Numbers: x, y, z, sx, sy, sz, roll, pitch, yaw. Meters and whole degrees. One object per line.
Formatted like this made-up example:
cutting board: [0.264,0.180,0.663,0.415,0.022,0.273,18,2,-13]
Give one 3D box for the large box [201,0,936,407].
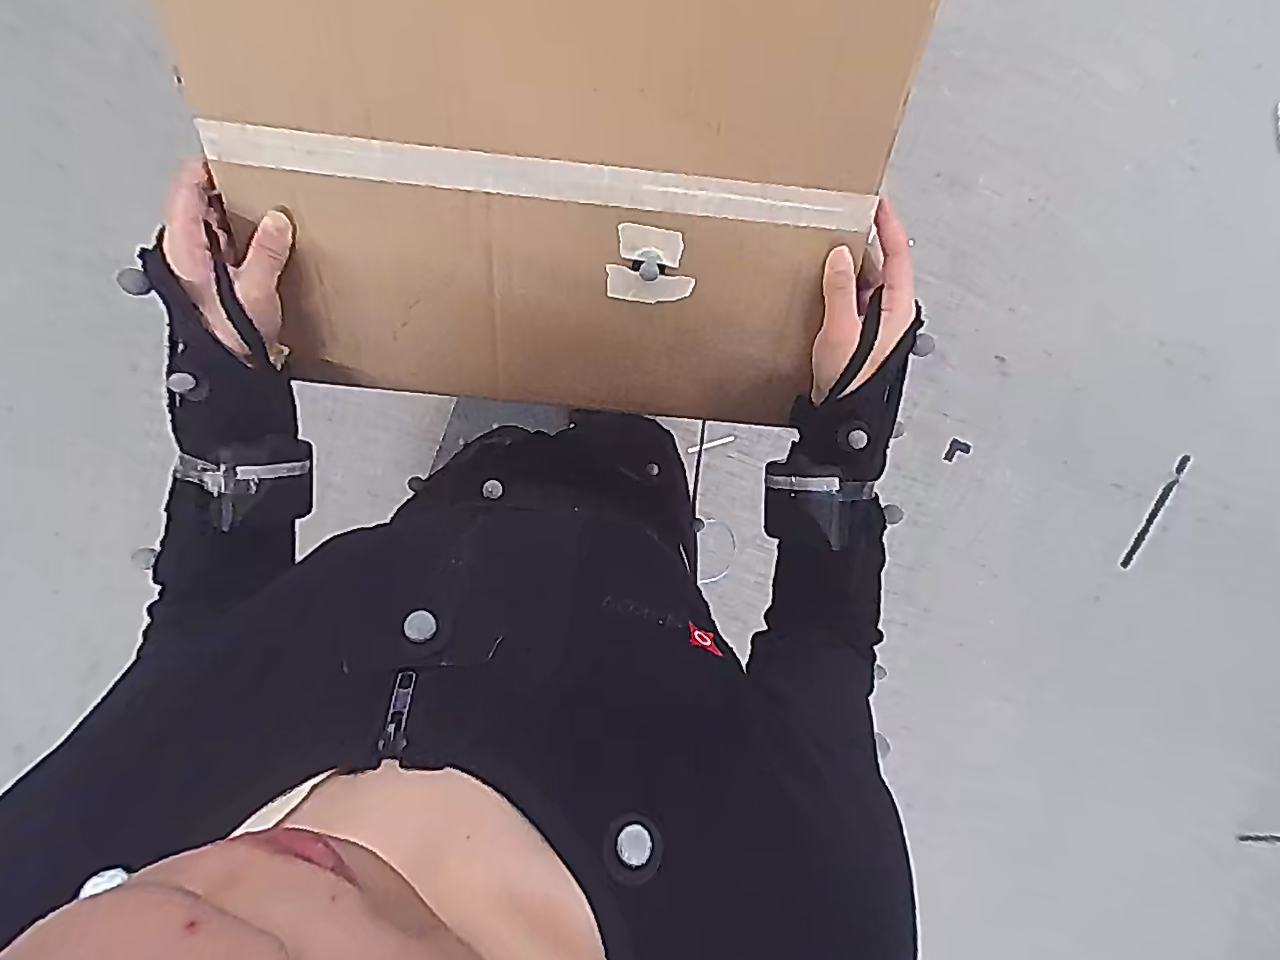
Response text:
large box: [-0.048,-0.282,0.456,0.408,0.320,0.320,5,126,-3]
